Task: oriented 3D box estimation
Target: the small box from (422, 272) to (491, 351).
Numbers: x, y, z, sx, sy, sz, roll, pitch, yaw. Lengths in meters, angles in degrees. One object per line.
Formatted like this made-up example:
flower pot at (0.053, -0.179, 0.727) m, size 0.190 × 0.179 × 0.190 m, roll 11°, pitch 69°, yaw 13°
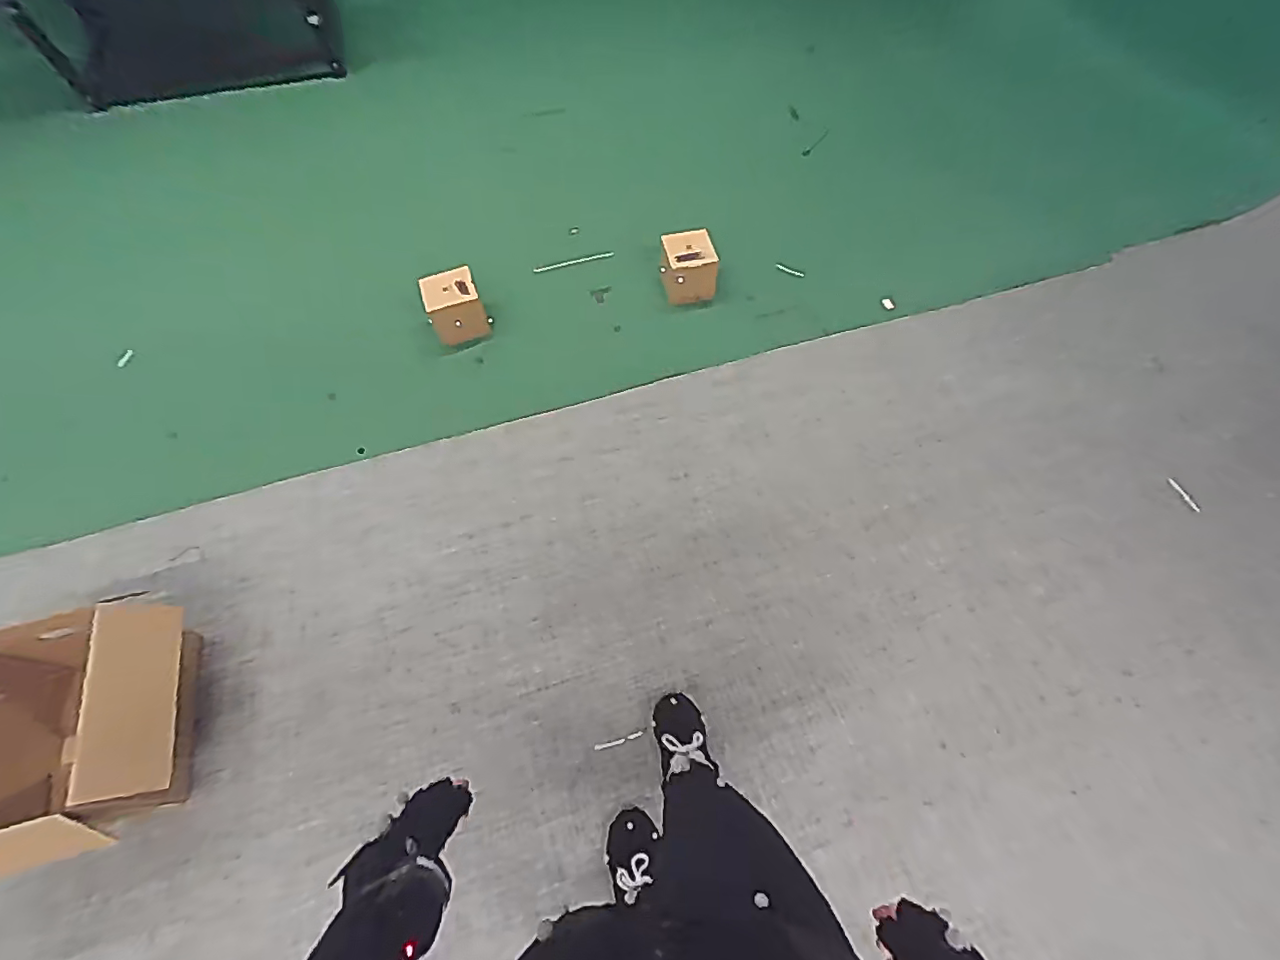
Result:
small box at (-0.627, -0.579, 1.868) m, size 0.179 × 0.176 × 0.168 m, roll -19°, pitch 62°, yaw -7°
